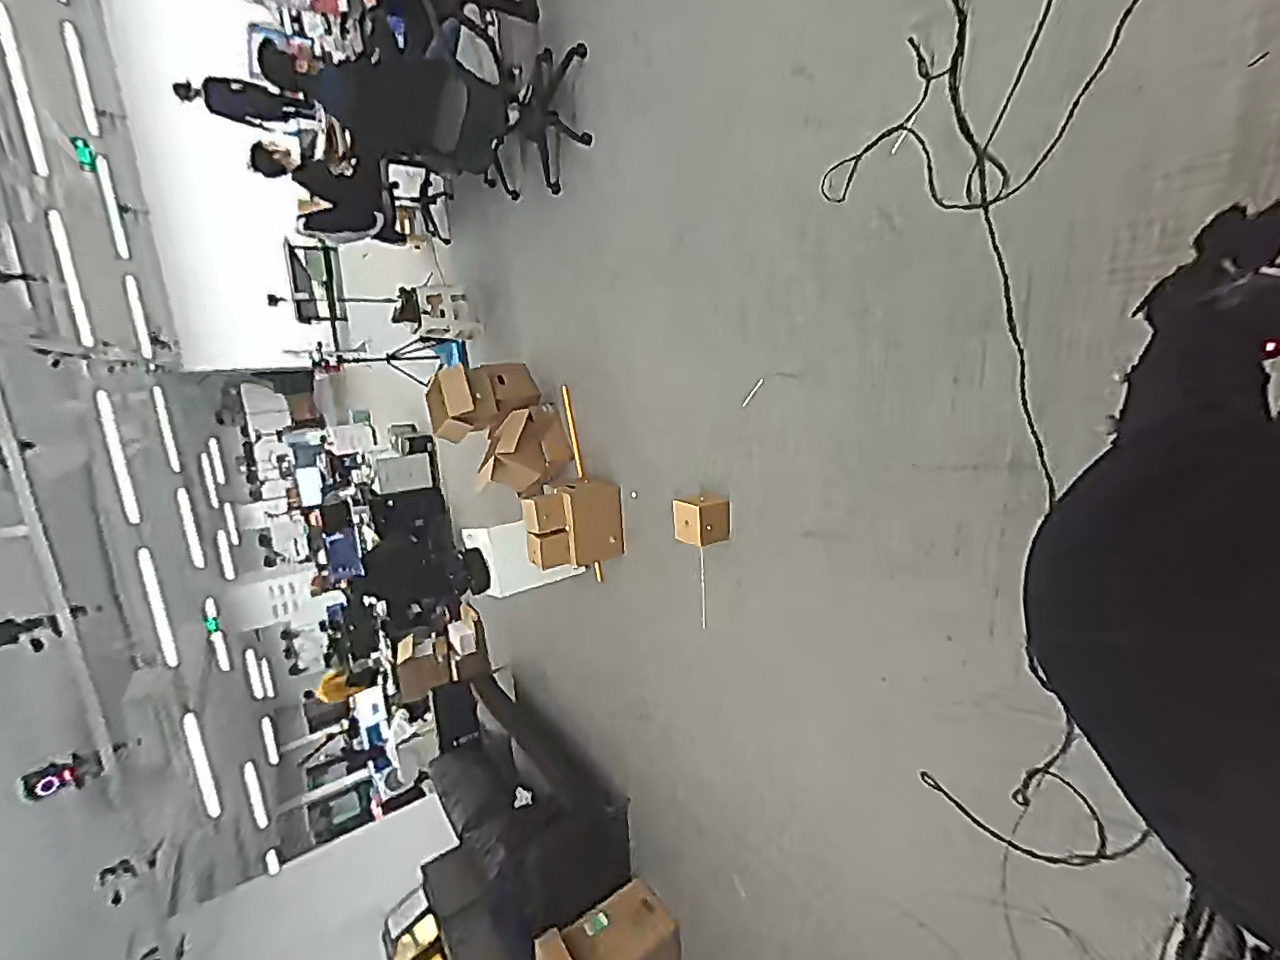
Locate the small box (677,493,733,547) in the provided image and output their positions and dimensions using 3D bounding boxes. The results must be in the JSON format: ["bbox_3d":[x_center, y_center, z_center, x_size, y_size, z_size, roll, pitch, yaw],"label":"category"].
[{"bbox_3d":[0.275,0.162,2.273,0.168,0.176,0.179,13,111,53],"label":"small box"}]
